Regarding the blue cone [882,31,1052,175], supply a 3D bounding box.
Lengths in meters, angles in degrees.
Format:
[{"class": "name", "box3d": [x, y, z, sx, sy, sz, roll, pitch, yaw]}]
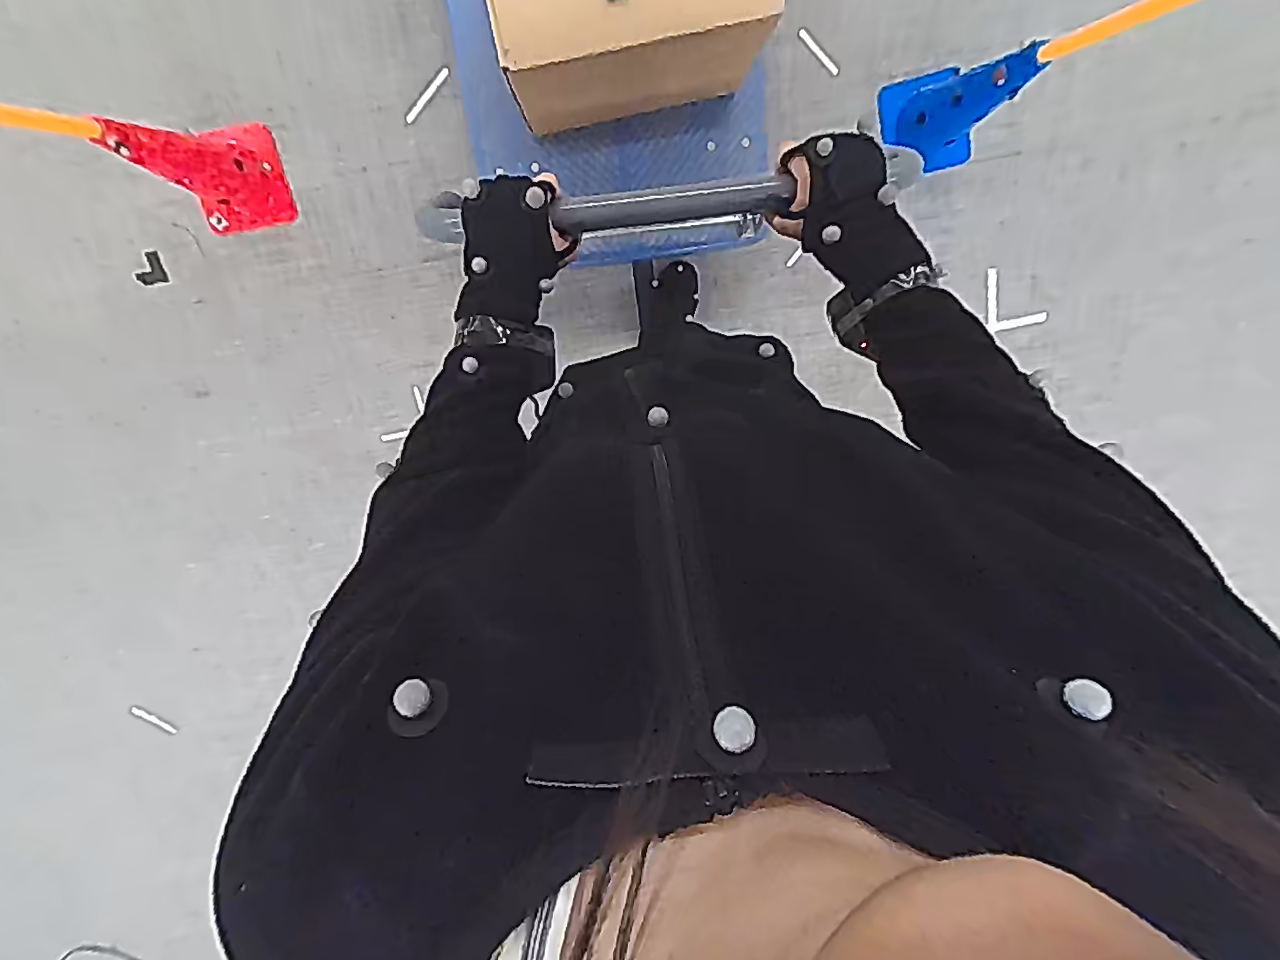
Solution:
[{"class": "blue cone", "box3d": [0.662, -0.766, 1.076, 0.193, 0.380, 0.192, -13, 106, 1]}]
